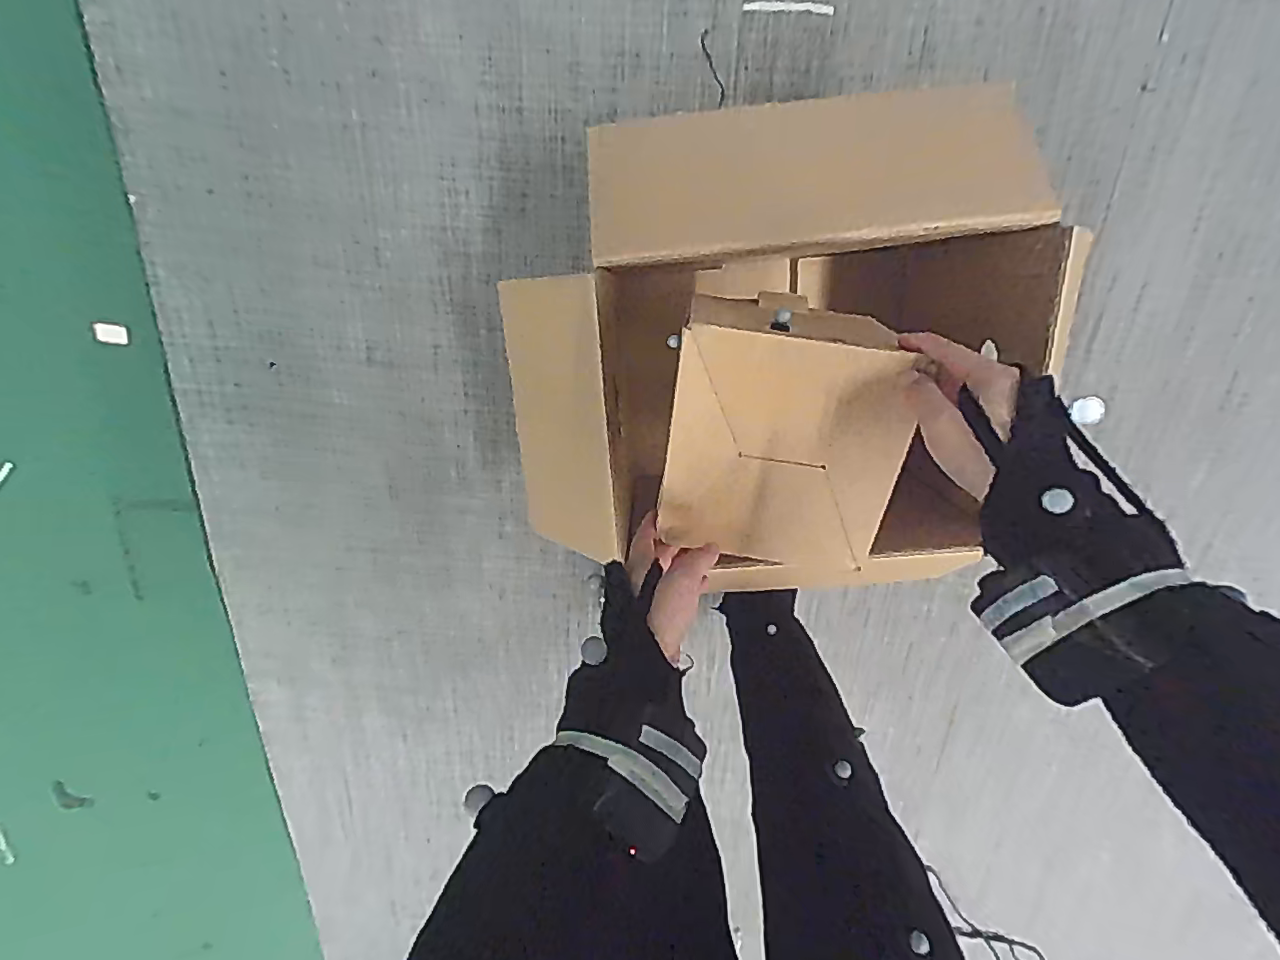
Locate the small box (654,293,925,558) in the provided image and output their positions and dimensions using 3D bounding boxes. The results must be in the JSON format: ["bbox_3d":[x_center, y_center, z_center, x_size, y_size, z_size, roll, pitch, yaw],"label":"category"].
[{"bbox_3d":[0.108,-0.050,0.460,0.168,0.176,0.179,9,118,3],"label":"small box"}]
